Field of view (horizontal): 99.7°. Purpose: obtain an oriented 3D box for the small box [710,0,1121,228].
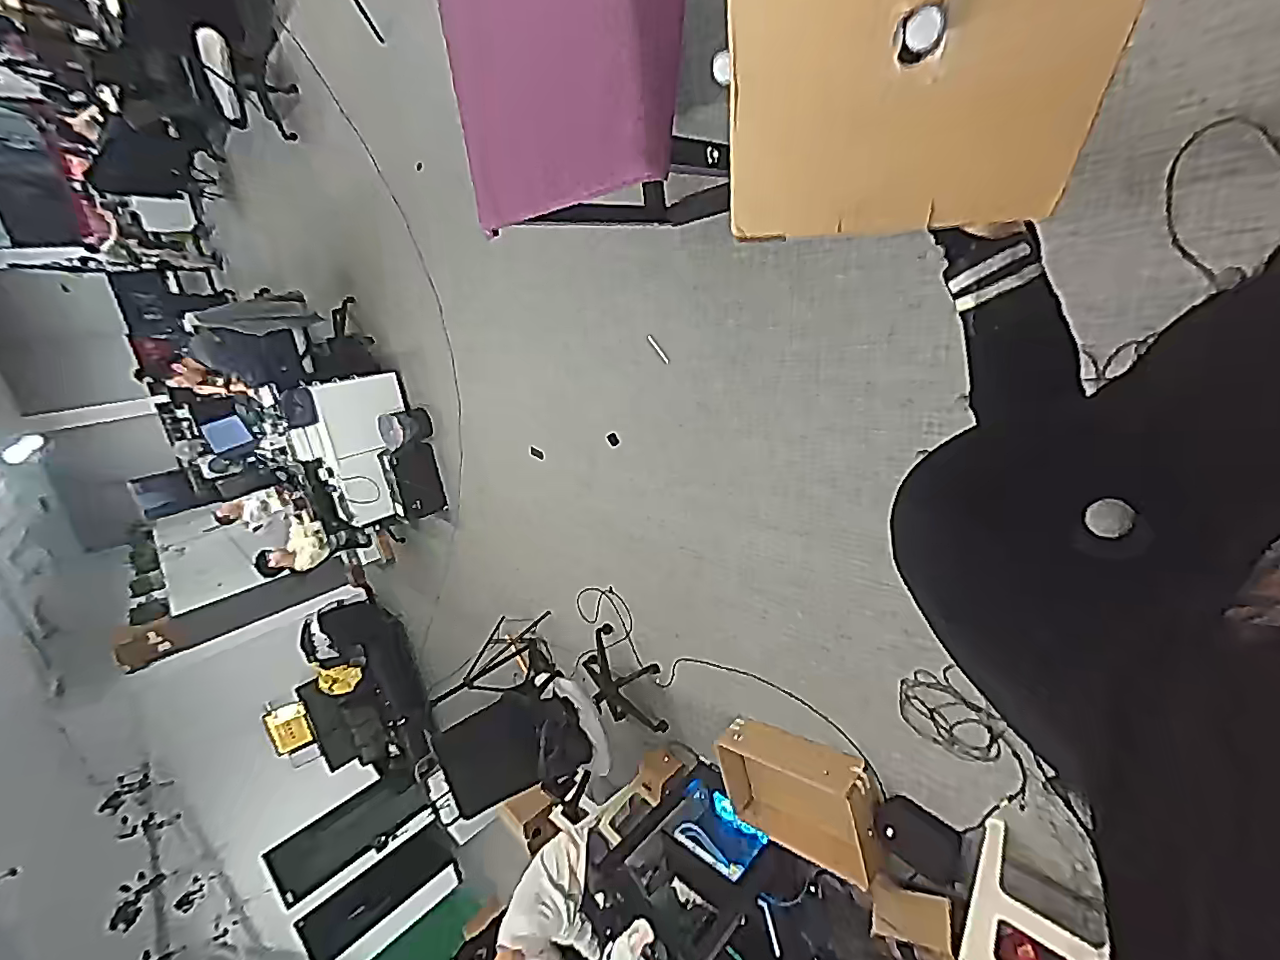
[{"bbox_3d":[0.125,-0.257,0.277,0.168,0.179,0.176,3,139,13],"label":"small box"}]
